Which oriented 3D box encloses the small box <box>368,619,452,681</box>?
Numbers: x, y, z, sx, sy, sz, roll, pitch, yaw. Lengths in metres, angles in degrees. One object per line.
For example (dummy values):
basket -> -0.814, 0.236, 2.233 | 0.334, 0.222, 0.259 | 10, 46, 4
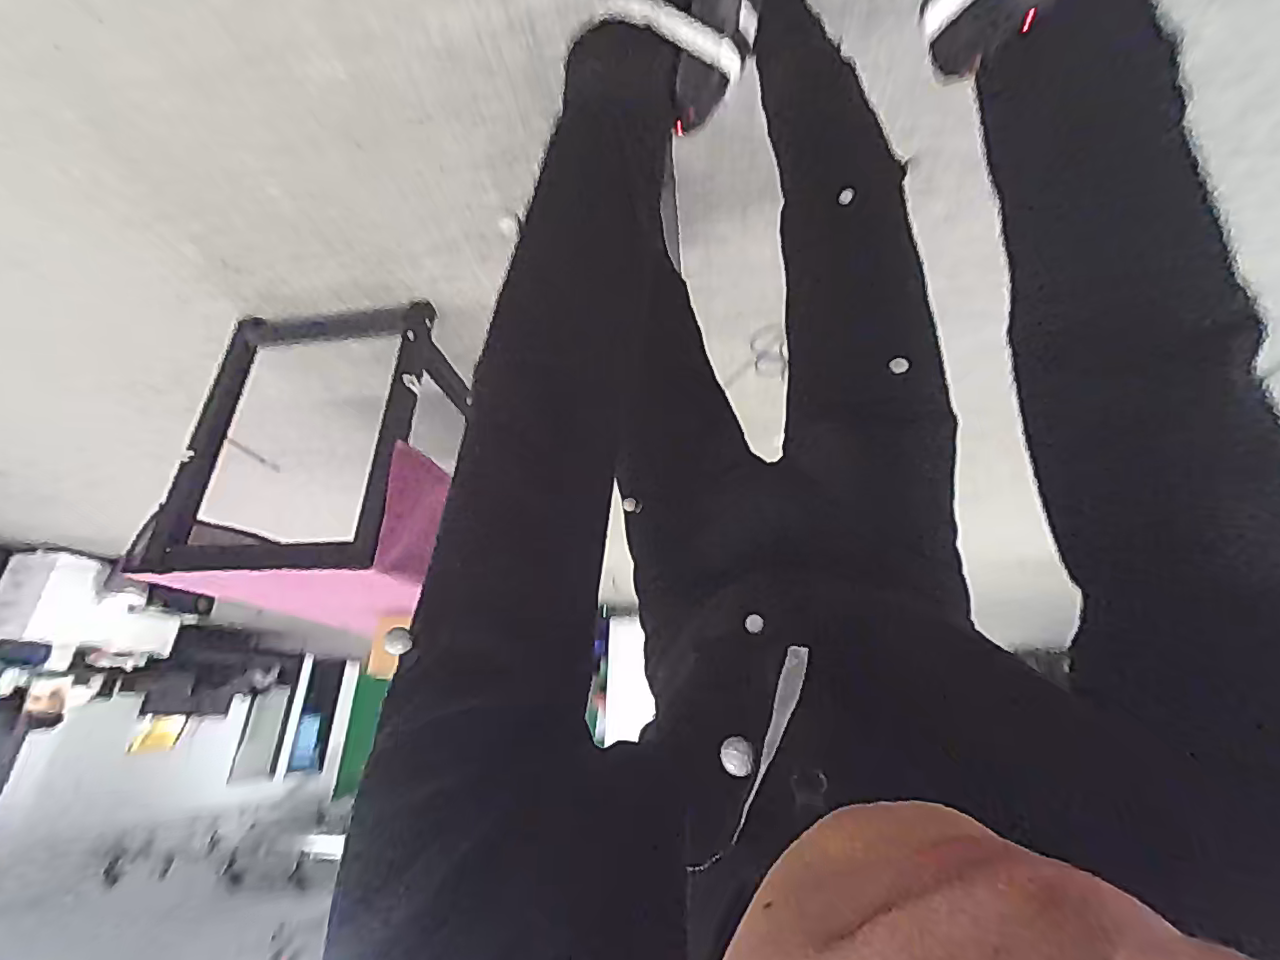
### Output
small box -> -0.727, 0.544, 1.729 | 0.179, 0.176, 0.168 | -5, 155, 10
